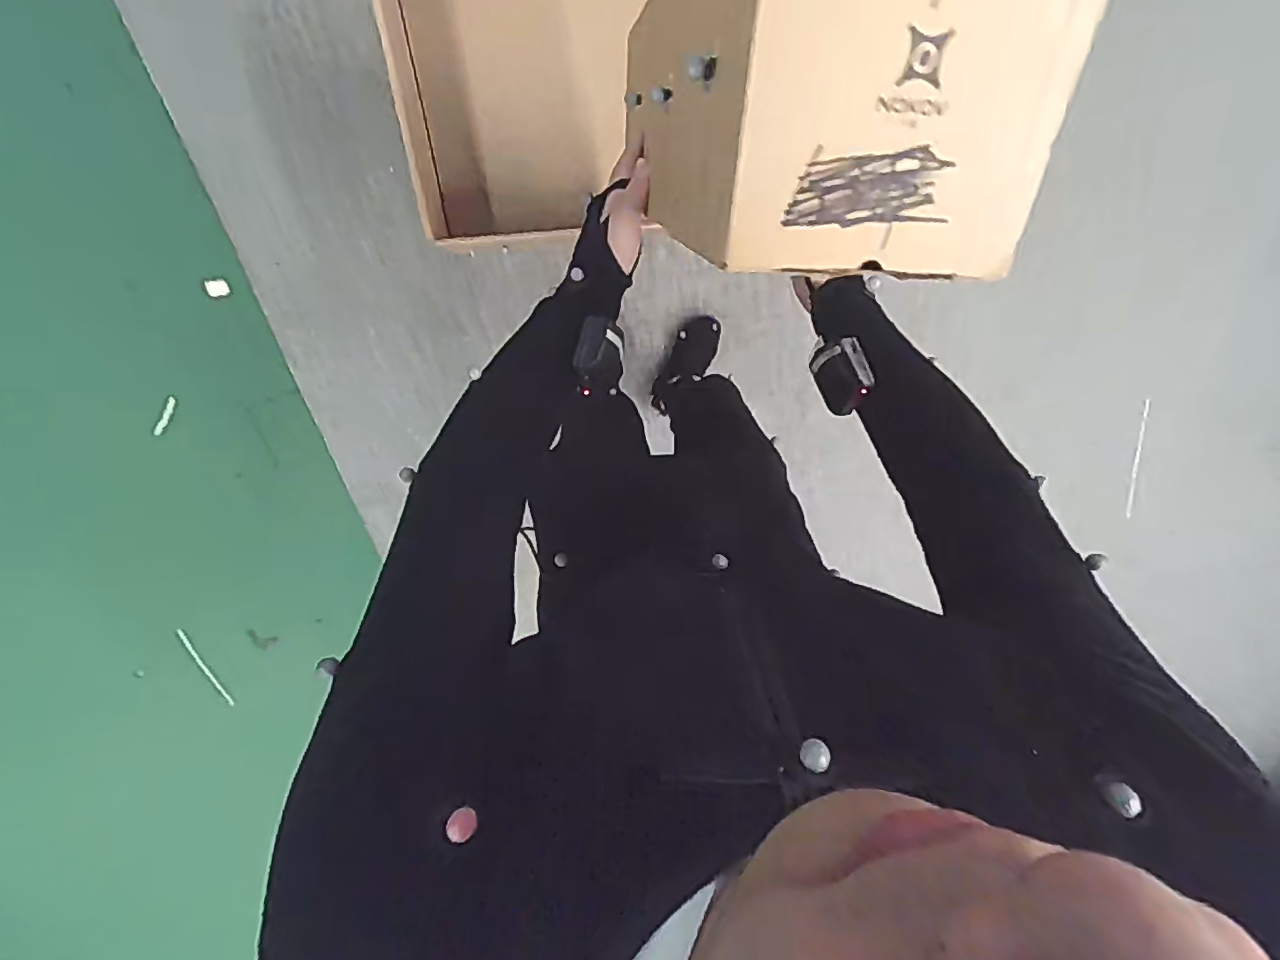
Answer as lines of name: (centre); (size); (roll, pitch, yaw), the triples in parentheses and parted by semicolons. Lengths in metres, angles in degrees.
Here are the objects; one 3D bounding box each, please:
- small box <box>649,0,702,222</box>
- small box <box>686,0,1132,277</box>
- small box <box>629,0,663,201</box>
small box: (0.104, -0.315, 0.454); (0.168, 0.176, 0.179); (-1, 121, -9)
small box: (0.127, -0.228, 0.317); (0.168, 0.176, 0.179); (-1, 119, -8)
small box: (0.081, -0.401, 0.591); (0.168, 0.176, 0.179); (-2, 120, -9)
